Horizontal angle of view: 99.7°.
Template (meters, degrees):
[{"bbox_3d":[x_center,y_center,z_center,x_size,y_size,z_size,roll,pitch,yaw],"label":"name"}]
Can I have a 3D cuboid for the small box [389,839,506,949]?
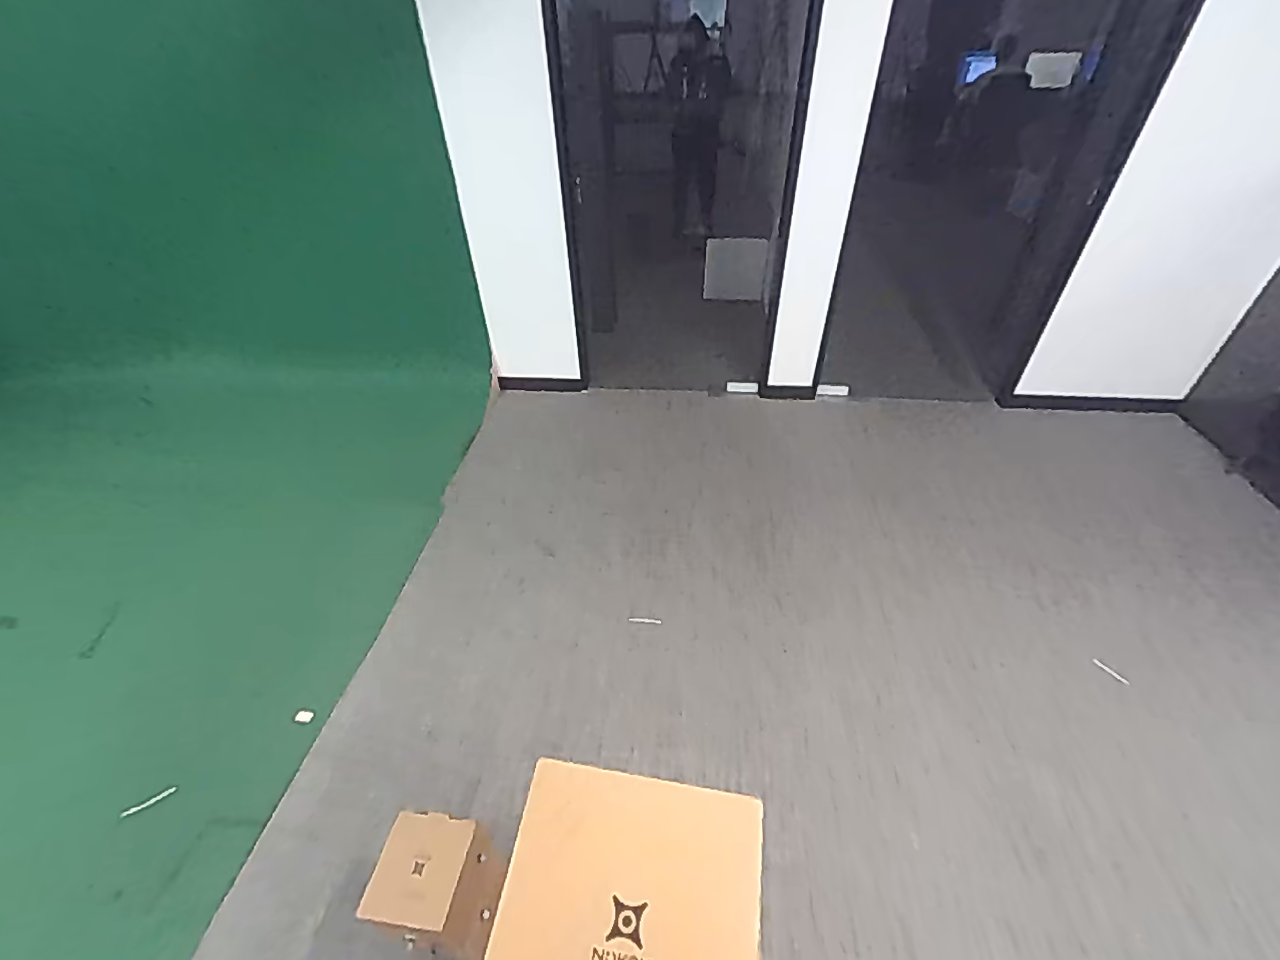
[{"bbox_3d":[-0.410,0.896,1.189,0.168,0.176,0.179,7,43,9],"label":"small box"}]

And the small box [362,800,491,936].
[{"bbox_3d":[-0.411,0.775,1.080,0.168,0.176,0.179,3,42,7],"label":"small box"}]

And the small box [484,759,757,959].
[{"bbox_3d":[-0.011,0.336,0.408,0.168,0.176,0.179,7,53,7],"label":"small box"}]
